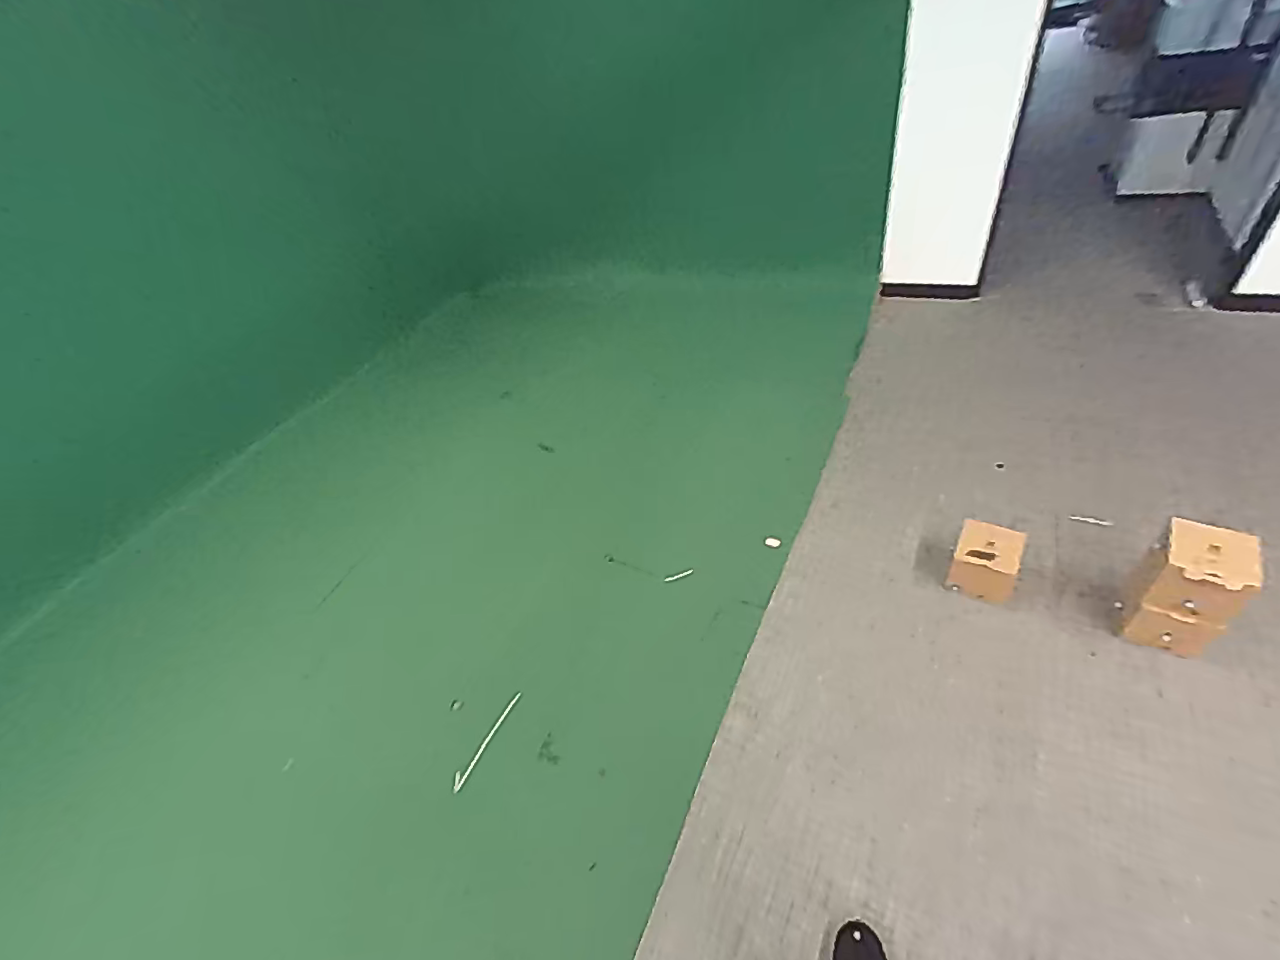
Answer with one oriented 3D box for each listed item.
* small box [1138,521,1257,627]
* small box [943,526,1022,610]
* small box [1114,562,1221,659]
[{"bbox_3d":[1.424,0.241,1.389,0.168,0.176,0.179,18,53,32],"label":"small box"},{"bbox_3d":[1.079,0.281,1.711,0.168,0.176,0.179,18,52,29],"label":"small box"},{"bbox_3d":[1.451,0.363,1.497,0.168,0.176,0.179,15,52,28],"label":"small box"}]
